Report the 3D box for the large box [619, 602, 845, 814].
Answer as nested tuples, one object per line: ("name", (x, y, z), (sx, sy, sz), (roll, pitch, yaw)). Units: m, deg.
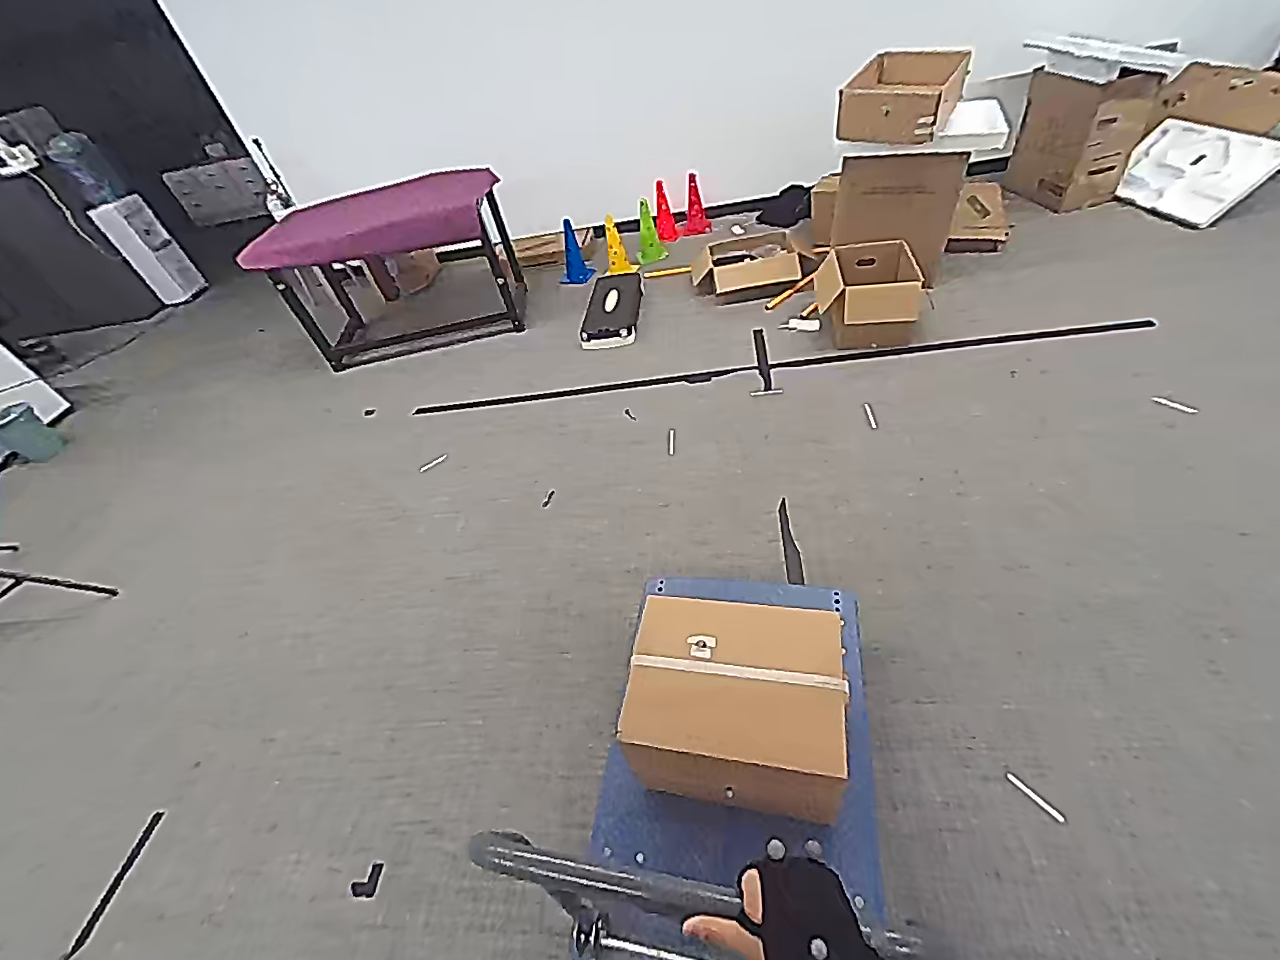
("large box", (0.208, 0.484, 1.161), (0.408, 0.320, 0.320), (0, 45, 16))
